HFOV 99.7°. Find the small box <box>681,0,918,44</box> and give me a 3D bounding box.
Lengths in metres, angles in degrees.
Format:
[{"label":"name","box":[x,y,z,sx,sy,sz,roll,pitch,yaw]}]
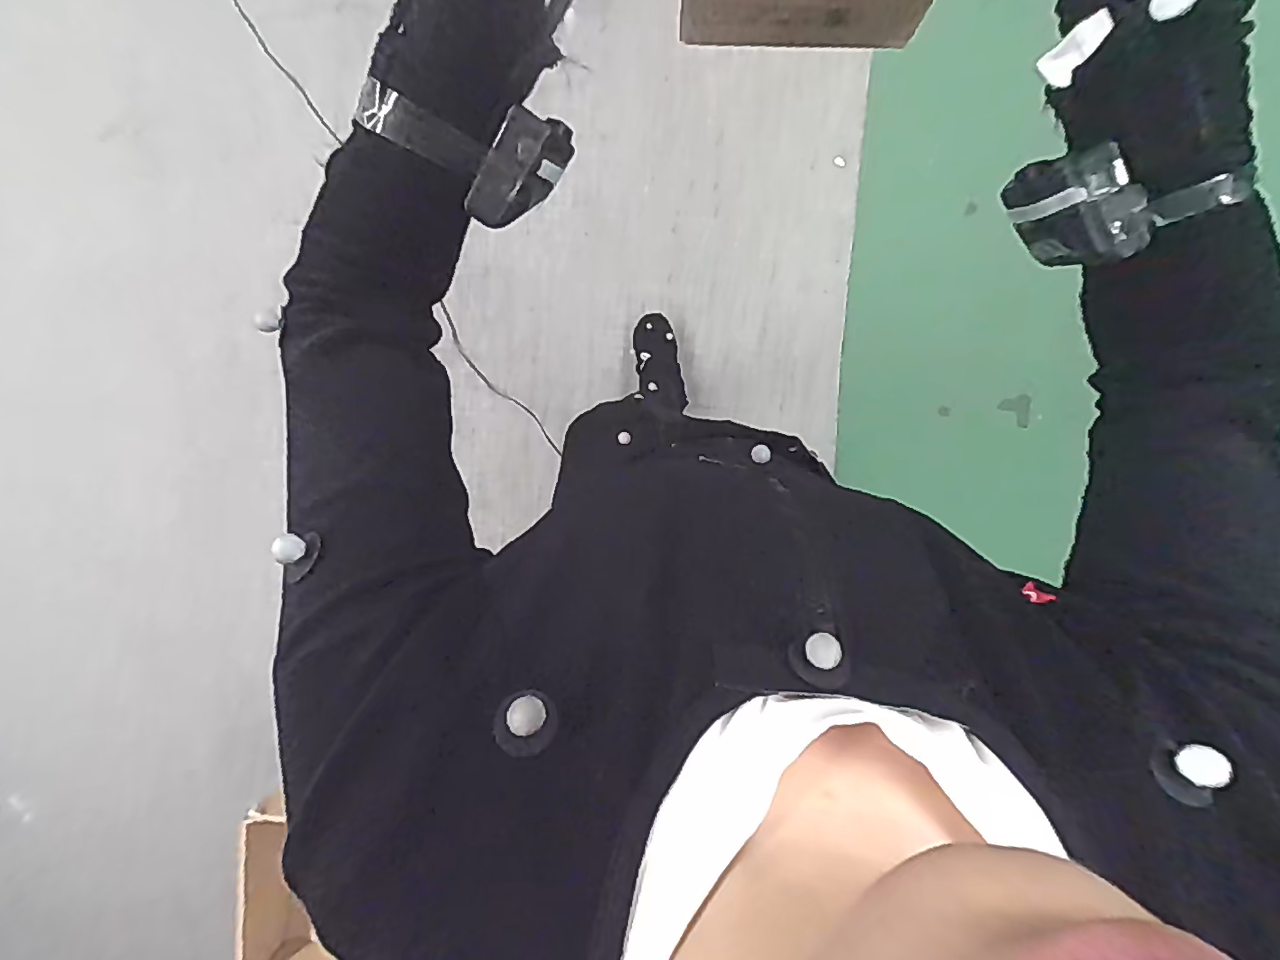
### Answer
[{"label":"small box","box":[0.112,-0.406,0.319,0.168,0.176,0.179,2,87,0]}]
